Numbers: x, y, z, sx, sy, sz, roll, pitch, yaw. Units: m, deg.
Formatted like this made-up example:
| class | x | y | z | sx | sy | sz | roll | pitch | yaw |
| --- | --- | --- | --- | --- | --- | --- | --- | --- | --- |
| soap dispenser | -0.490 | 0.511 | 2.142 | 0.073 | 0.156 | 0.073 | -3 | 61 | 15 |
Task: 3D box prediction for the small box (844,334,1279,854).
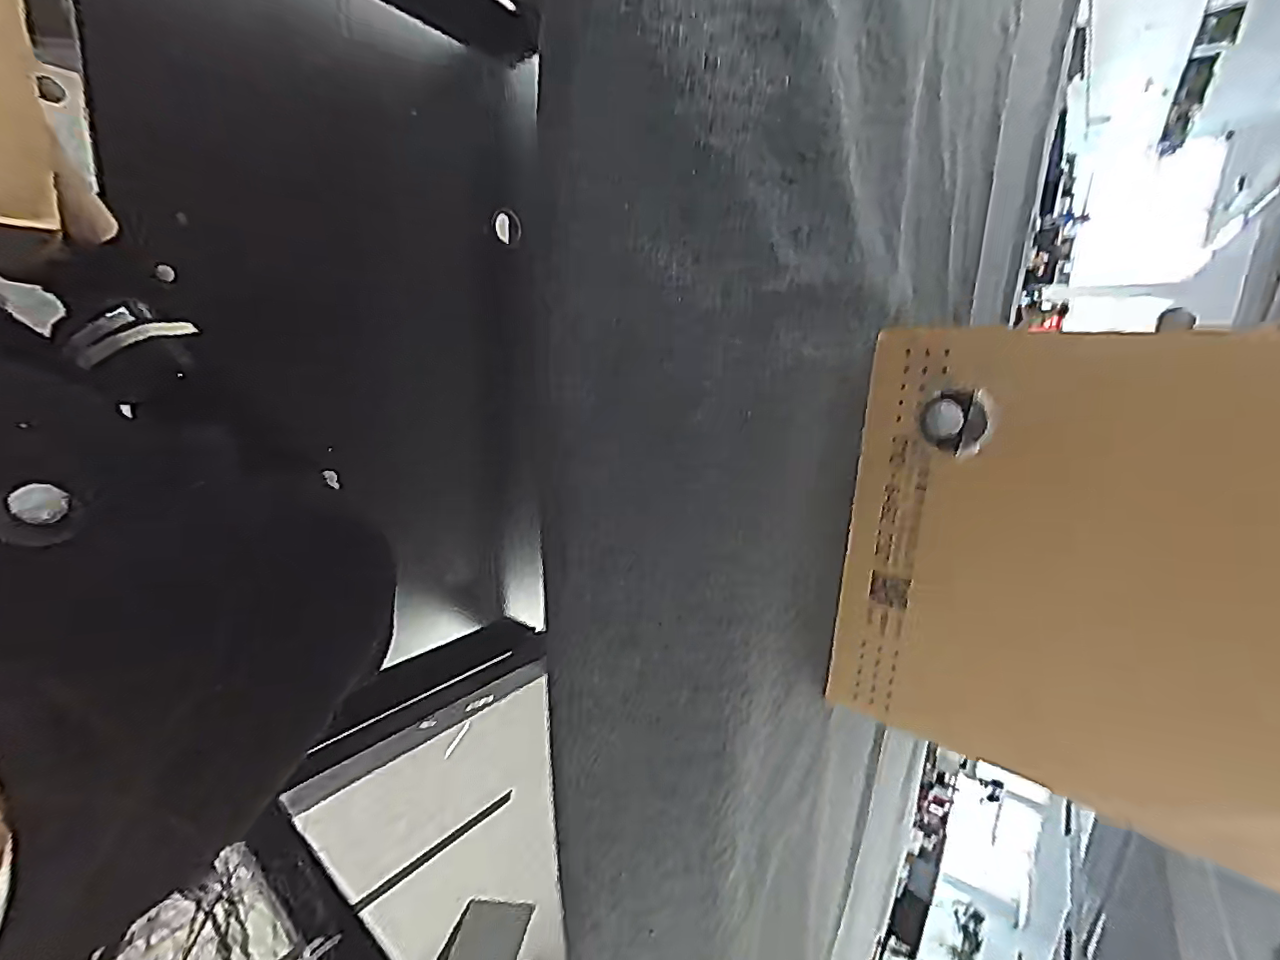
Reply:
| class | x | y | z | sx | sy | sz | roll | pitch | yaw |
| --- | --- | --- | --- | --- | --- | --- | --- | --- | --- |
| small box | 0.207 | 0.023 | 0.249 | 0.179 | 0.176 | 0.168 | -15 | 112 | -52 |
